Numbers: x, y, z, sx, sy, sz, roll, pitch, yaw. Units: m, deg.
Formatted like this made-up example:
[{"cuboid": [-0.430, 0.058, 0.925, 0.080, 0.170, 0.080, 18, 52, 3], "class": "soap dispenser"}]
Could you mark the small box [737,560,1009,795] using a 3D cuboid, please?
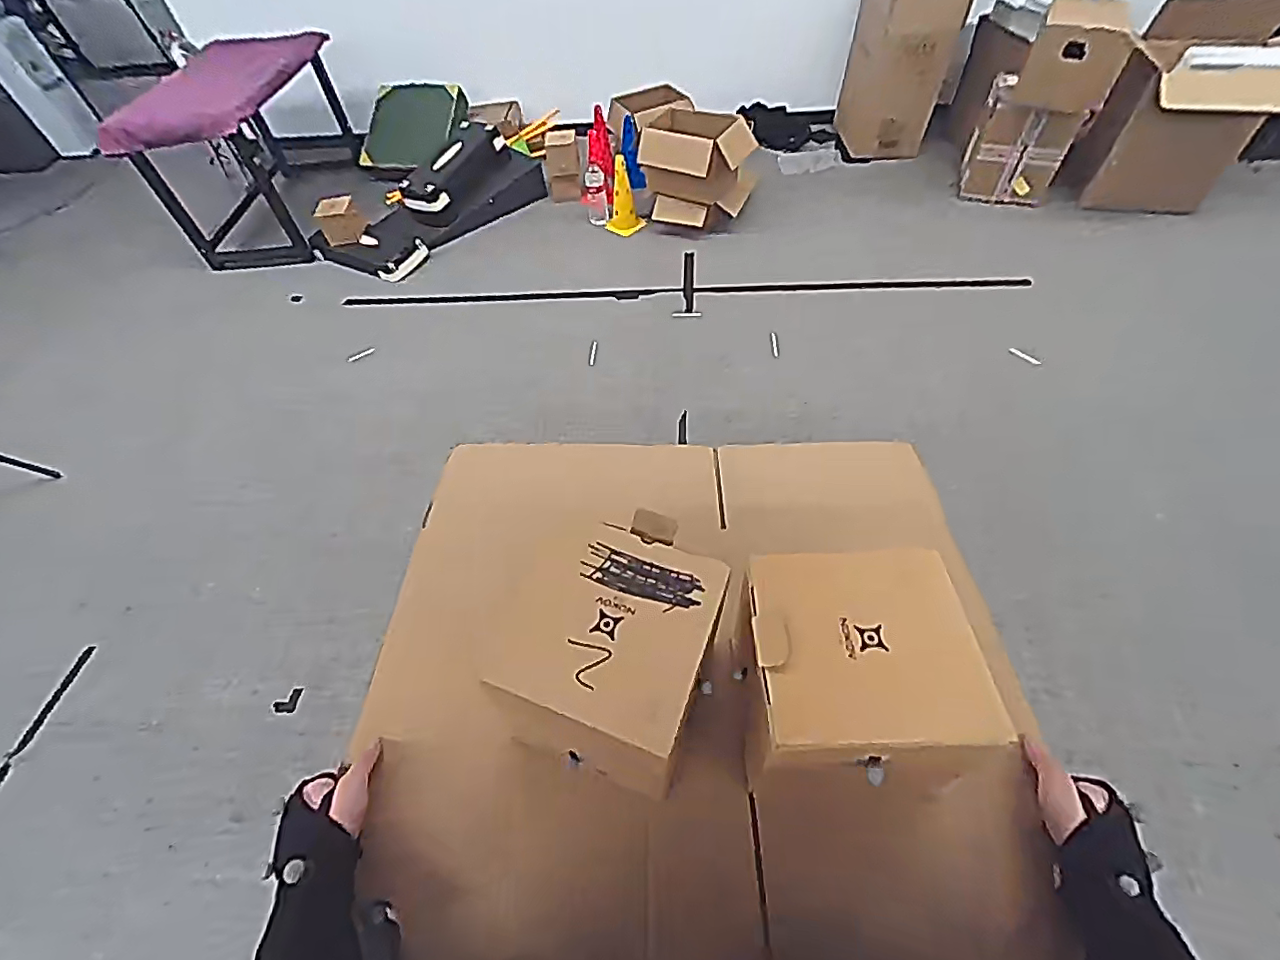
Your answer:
[{"cuboid": [0.195, 0.192, 0.518, 0.179, 0.176, 0.168, -3, 49, 3], "class": "small box"}]
